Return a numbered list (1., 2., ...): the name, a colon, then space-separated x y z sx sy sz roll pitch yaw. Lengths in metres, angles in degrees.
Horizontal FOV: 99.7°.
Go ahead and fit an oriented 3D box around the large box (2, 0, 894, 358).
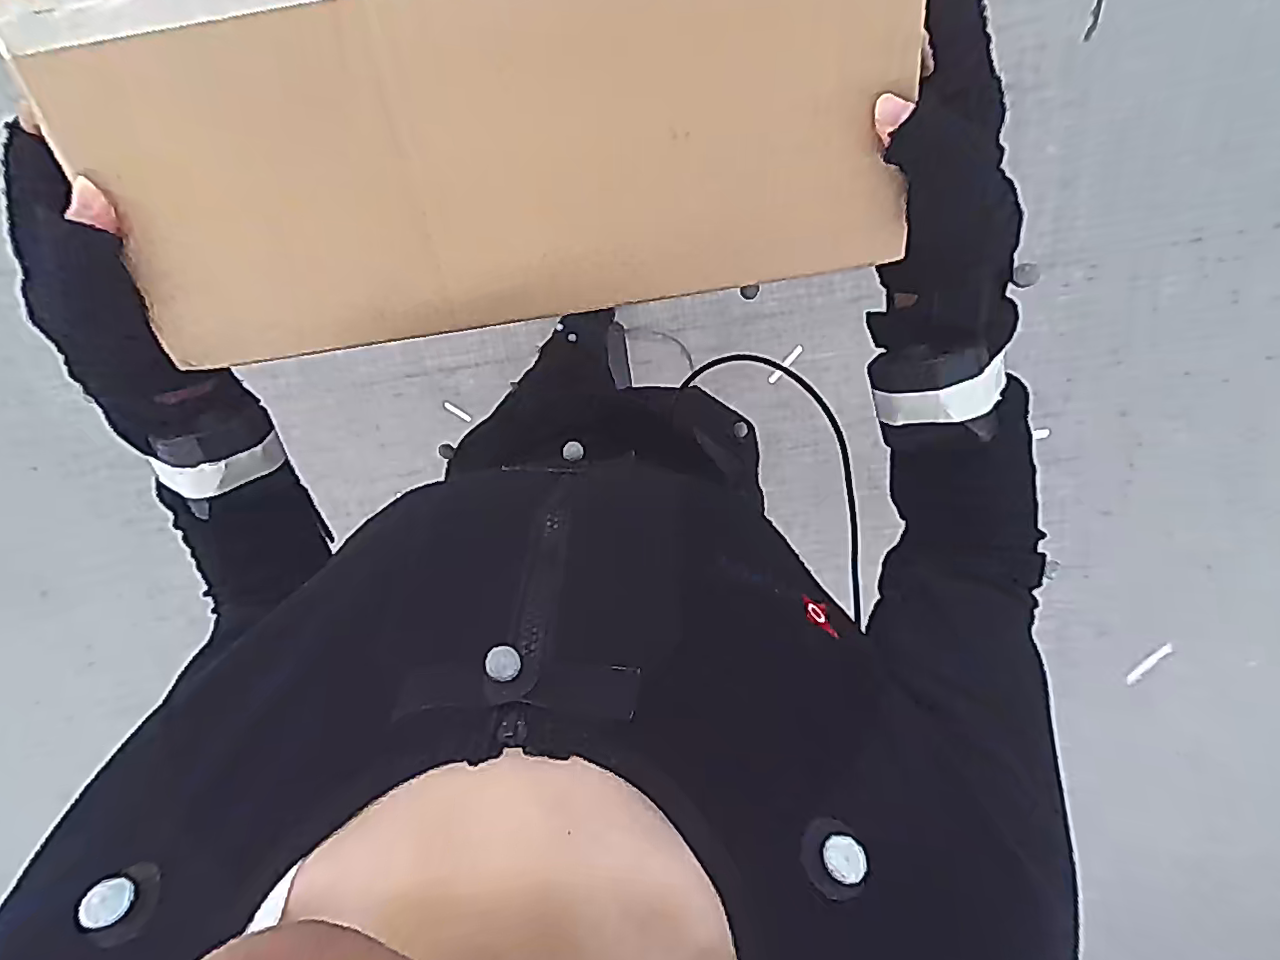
1. large box: -0.086 -0.303 0.366 0.408 0.320 0.320 -8 117 4
